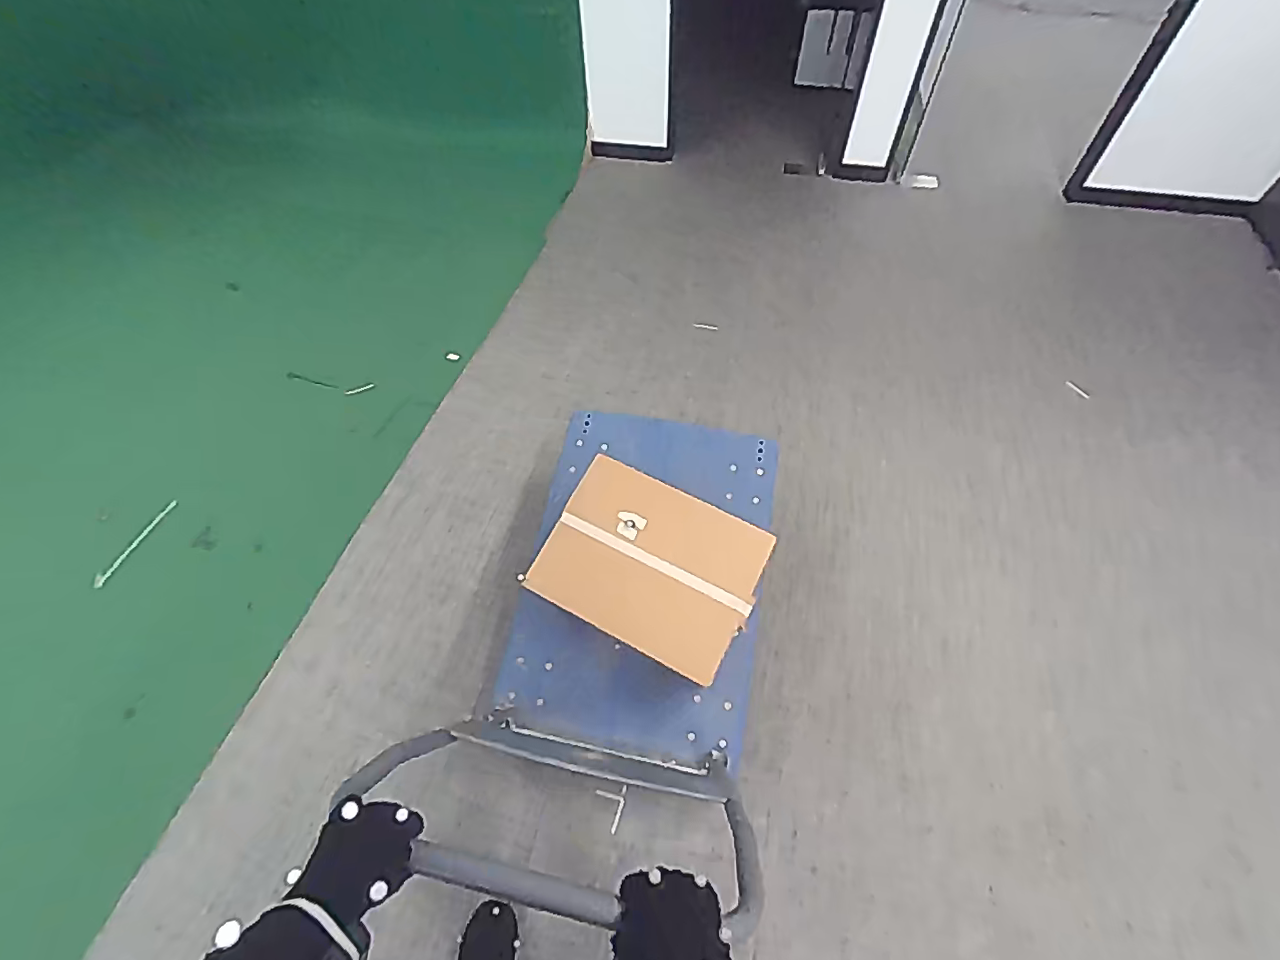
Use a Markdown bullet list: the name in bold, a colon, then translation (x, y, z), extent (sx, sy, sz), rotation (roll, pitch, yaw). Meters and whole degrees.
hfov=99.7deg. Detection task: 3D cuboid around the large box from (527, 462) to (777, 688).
- **large box**: translation (0.039, 0.216, 1.181), extent (0.408, 0.320, 0.320), rotation (25, 73, 14)
